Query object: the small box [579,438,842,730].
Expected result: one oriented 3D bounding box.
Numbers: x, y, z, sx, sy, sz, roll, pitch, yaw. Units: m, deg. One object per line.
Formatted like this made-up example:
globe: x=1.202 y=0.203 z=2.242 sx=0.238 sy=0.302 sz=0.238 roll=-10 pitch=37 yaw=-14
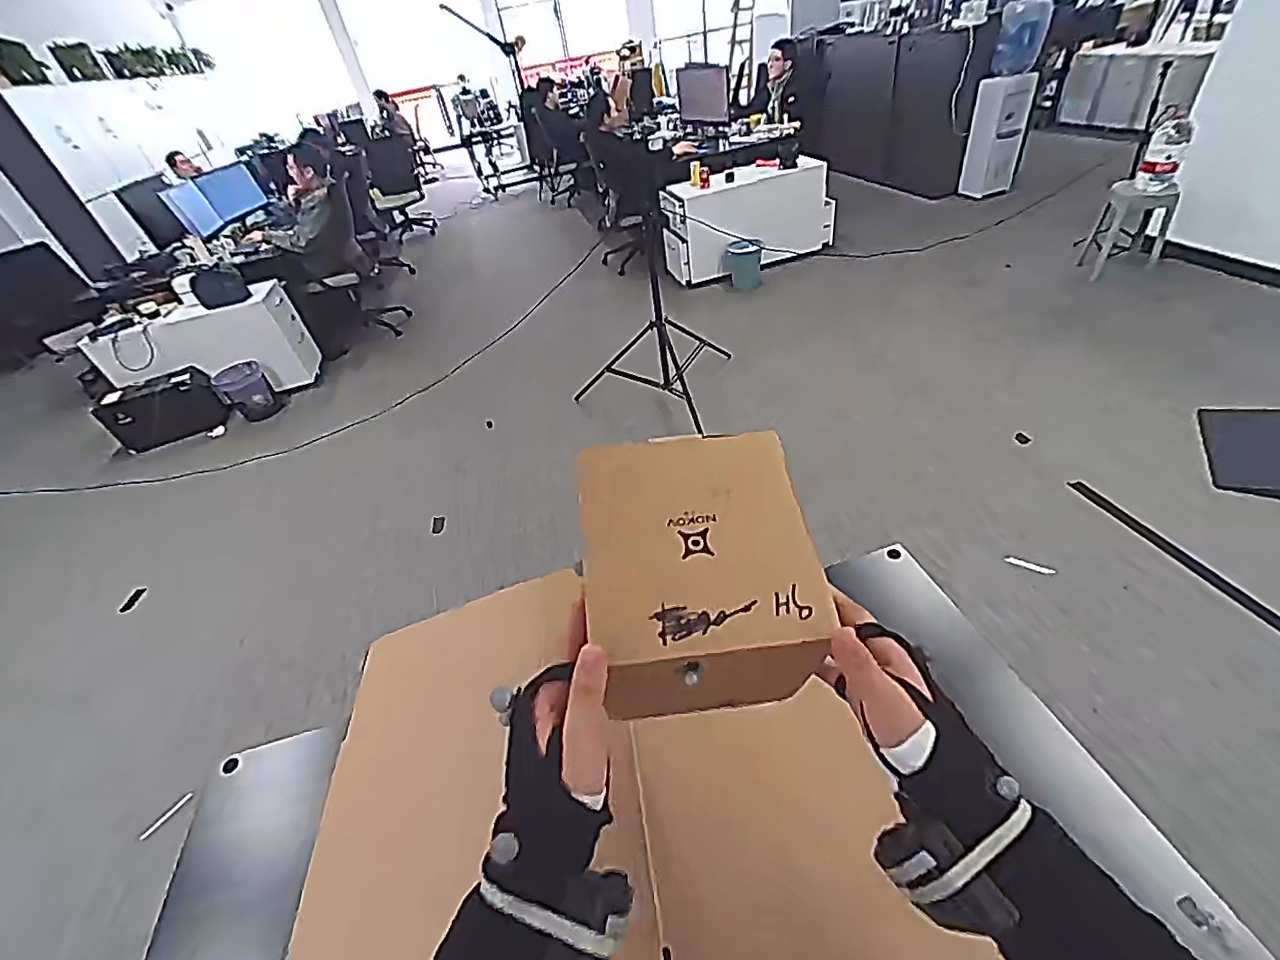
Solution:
small box: x=0.041 y=0.090 z=0.452 sx=0.168 sy=0.176 sz=0.179 roll=-7 pitch=54 yaw=-2
